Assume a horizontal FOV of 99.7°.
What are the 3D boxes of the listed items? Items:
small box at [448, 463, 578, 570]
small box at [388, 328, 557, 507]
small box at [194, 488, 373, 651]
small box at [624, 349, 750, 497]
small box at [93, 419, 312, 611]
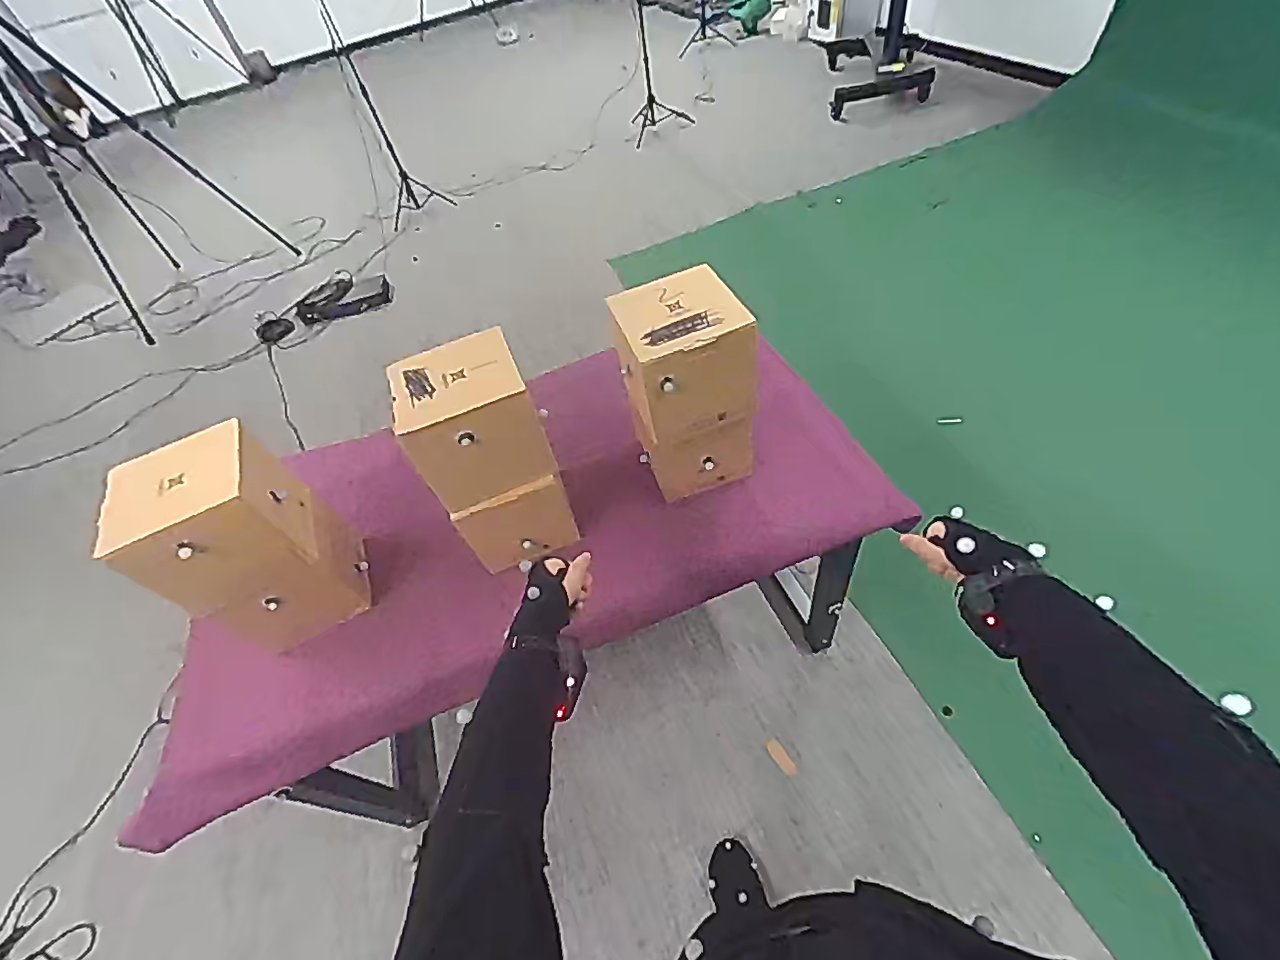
[{"bbox_3d":[-0.218,0.022,0.918,0.168,0.176,0.179,-20,51,-5],"label":"small box"},{"bbox_3d":[-0.243,-0.088,0.798,0.179,0.176,0.168,-22,50,-8],"label":"small box"},{"bbox_3d":[-0.573,0.150,0.886,0.179,0.176,0.168,-25,52,-9],"label":"small box"},{"bbox_3d":[0.086,-0.092,0.949,0.168,0.176,0.179,-19,51,-4],"label":"small box"},{"bbox_3d":[-0.591,0.052,0.759,0.179,0.176,0.168,-27,53,-10],"label":"small box"}]
